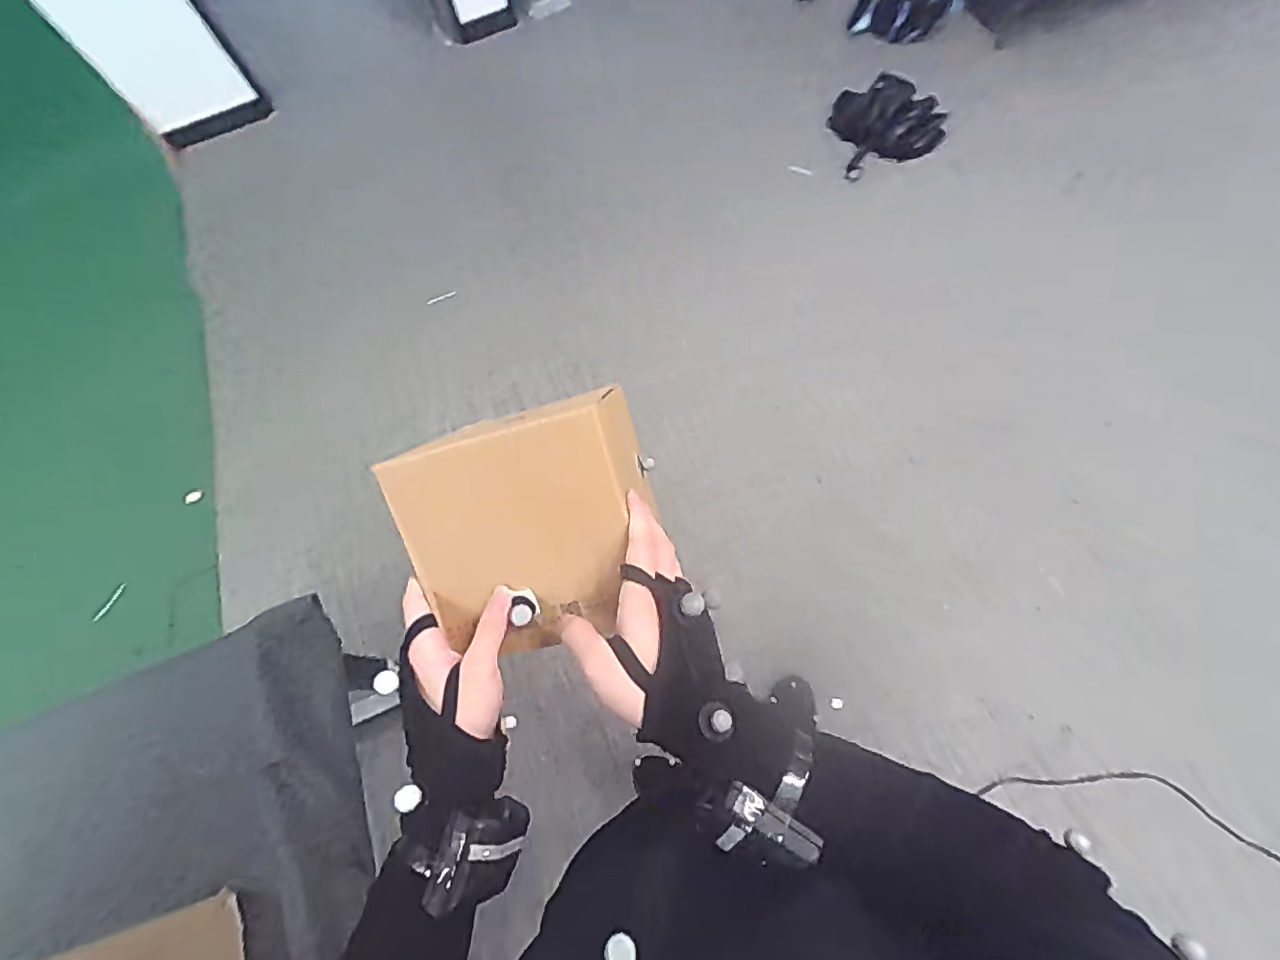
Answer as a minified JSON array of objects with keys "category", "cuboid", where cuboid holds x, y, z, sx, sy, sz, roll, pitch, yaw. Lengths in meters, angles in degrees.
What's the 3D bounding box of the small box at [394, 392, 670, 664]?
[{"category":"small box","cuboid":[-0.074,0.031,0.475,0.168,0.179,0.176,-15,103,7]}]
